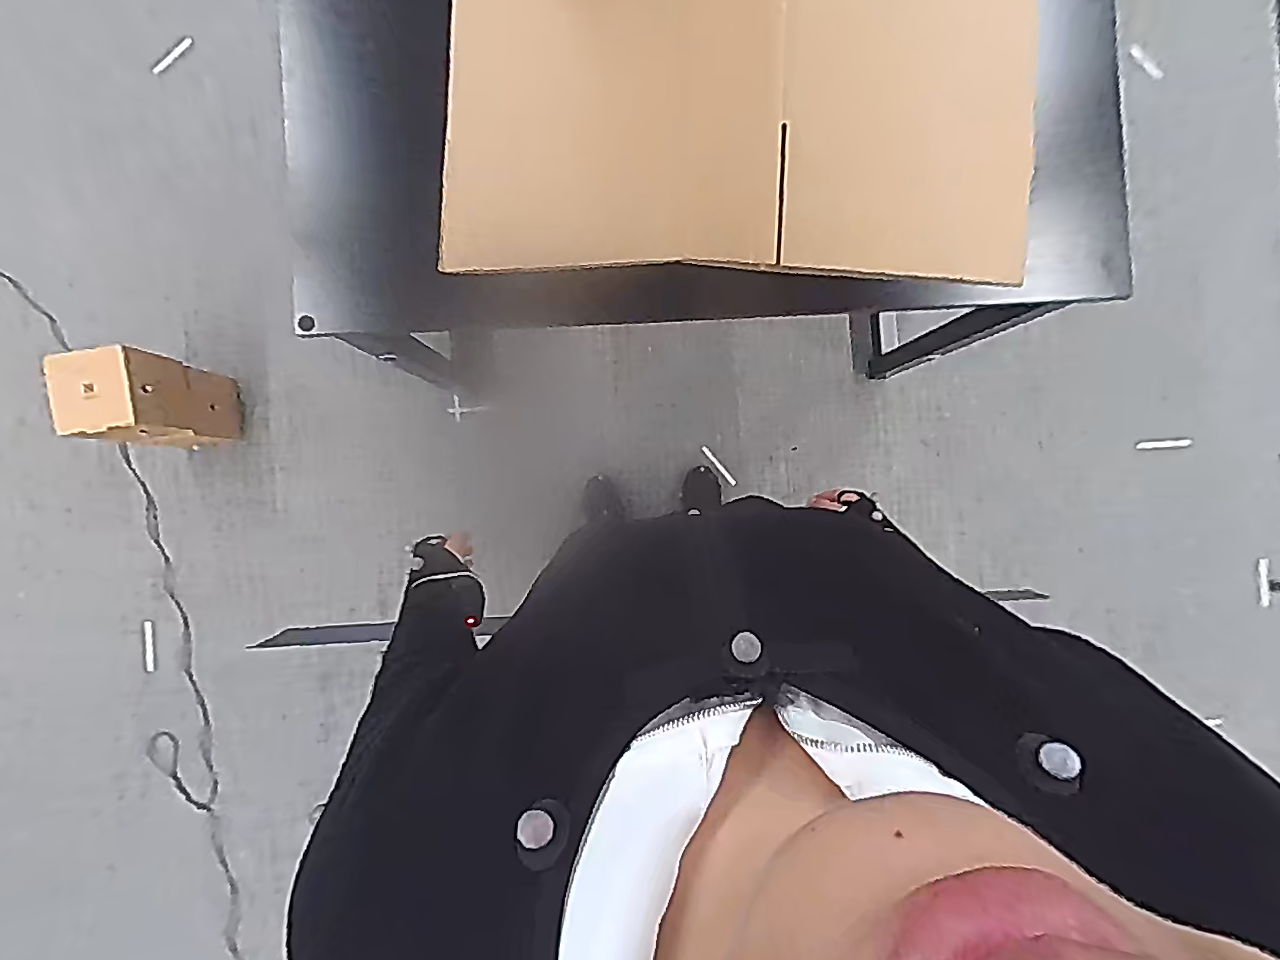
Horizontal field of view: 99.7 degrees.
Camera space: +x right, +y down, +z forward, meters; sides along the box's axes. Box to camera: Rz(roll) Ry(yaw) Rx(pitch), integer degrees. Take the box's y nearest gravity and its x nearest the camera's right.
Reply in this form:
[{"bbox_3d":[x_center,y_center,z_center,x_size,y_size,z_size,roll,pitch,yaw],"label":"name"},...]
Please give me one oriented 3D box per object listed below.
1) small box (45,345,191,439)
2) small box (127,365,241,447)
[{"bbox_3d":[-1.170,-0.190,1.227,0.168,0.176,0.179,-10,89,-2],"label":"small box"},{"bbox_3d":[-1.172,-0.184,1.390,0.168,0.176,0.179,-7,91,-1],"label":"small box"}]
